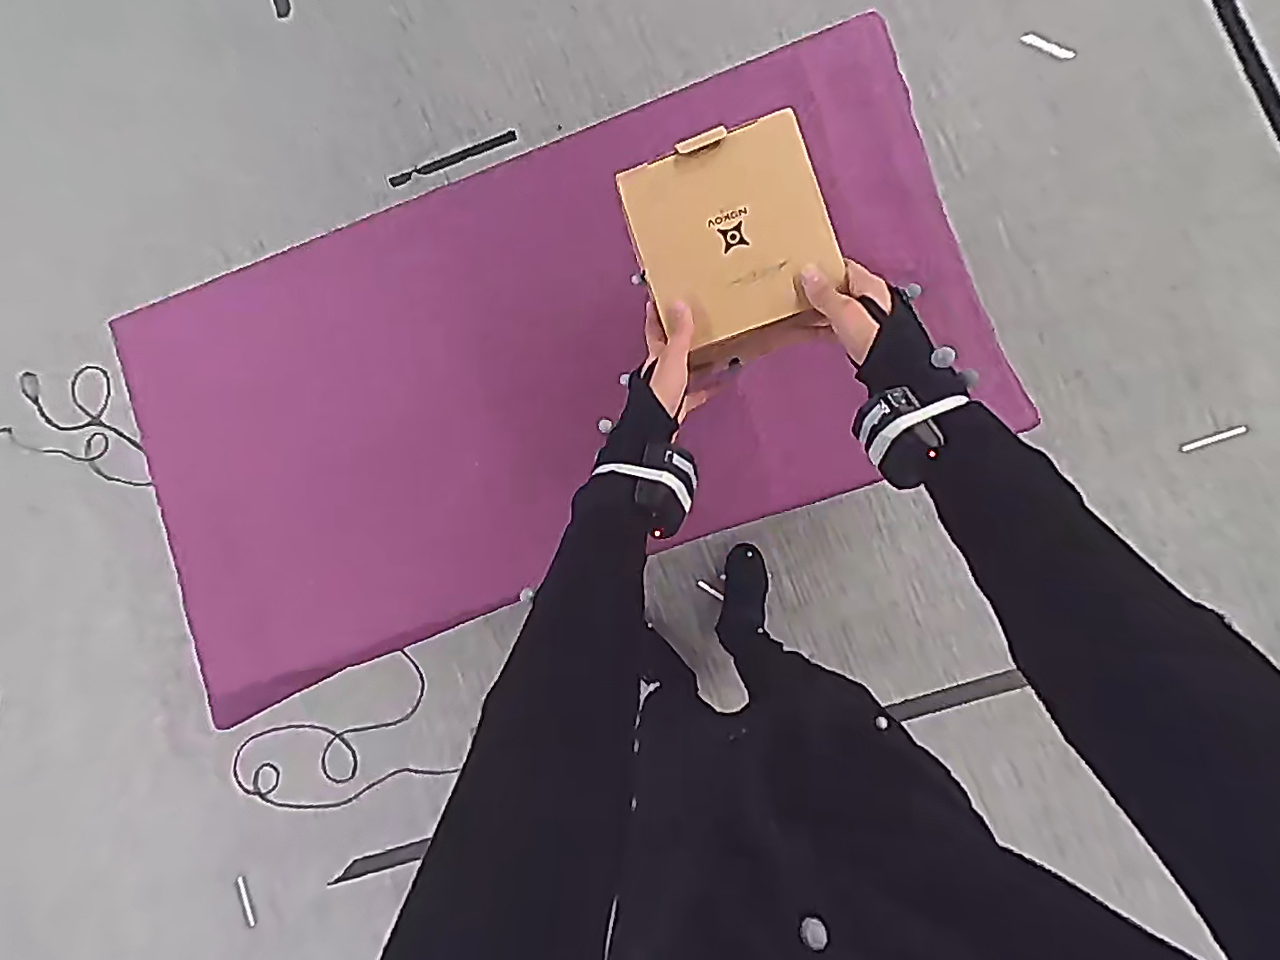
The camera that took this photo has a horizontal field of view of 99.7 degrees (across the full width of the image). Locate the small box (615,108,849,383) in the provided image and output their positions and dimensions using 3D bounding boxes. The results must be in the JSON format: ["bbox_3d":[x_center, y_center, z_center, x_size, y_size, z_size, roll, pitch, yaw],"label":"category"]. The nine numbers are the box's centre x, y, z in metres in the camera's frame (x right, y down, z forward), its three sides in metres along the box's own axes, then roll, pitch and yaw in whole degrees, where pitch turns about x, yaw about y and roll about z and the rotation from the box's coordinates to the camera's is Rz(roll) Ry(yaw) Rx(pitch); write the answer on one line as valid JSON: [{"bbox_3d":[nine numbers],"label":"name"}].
[{"bbox_3d":[0.084,-0.215,0.547,0.168,0.176,0.179,-18,89,6],"label":"small box"}]
